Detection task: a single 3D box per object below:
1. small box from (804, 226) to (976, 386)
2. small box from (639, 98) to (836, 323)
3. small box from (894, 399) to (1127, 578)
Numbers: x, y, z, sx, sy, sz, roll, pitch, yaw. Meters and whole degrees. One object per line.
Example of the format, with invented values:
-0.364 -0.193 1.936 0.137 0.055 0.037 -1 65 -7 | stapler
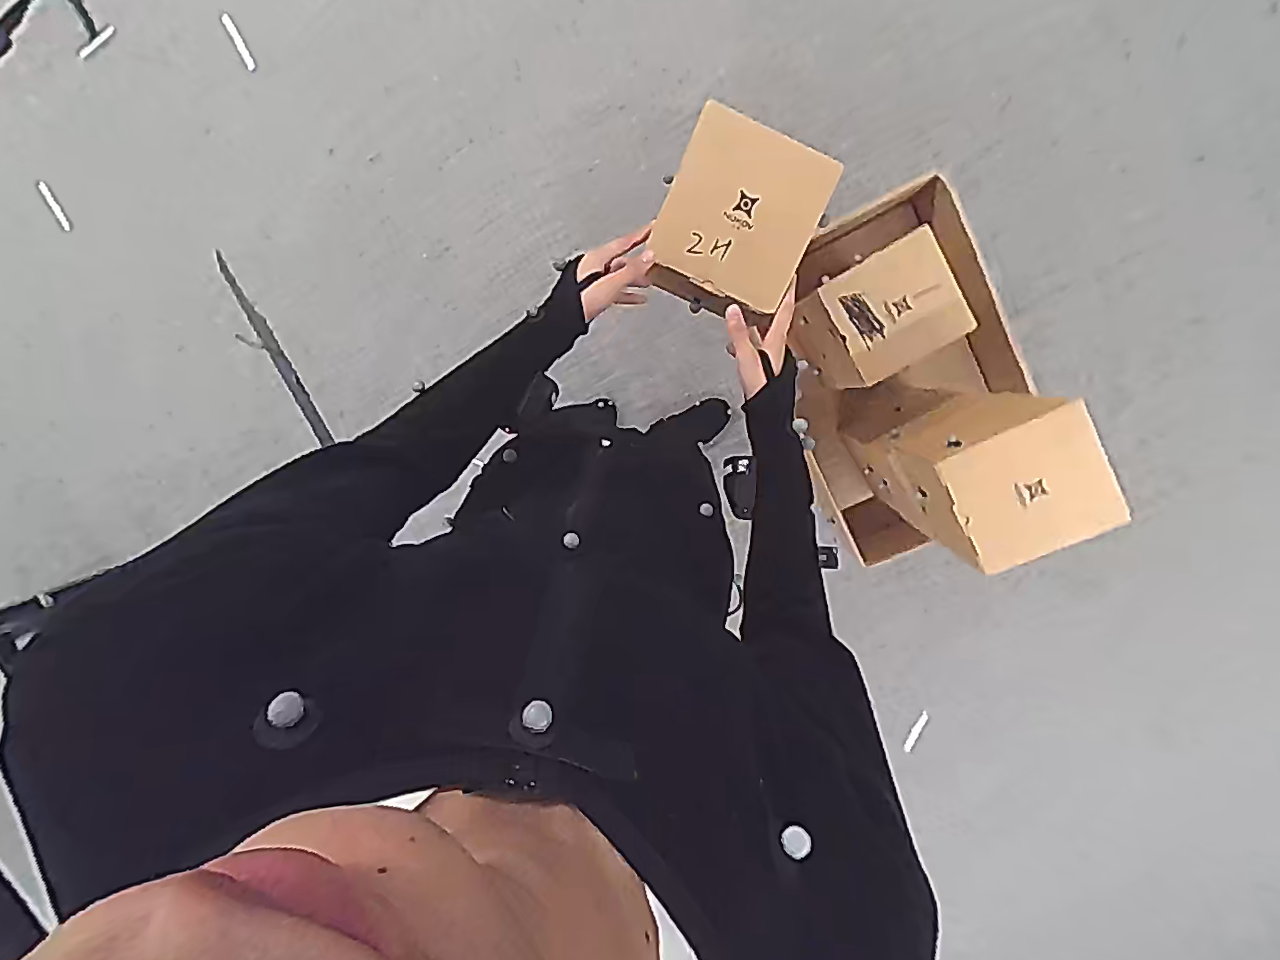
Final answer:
0.377 -0.261 0.857 0.179 0.176 0.168 -29 97 10 | small box
0.105 -0.310 0.667 0.168 0.176 0.179 23 102 -3 | small box
0.480 0.000 0.729 0.179 0.176 0.168 -26 97 13 | small box
